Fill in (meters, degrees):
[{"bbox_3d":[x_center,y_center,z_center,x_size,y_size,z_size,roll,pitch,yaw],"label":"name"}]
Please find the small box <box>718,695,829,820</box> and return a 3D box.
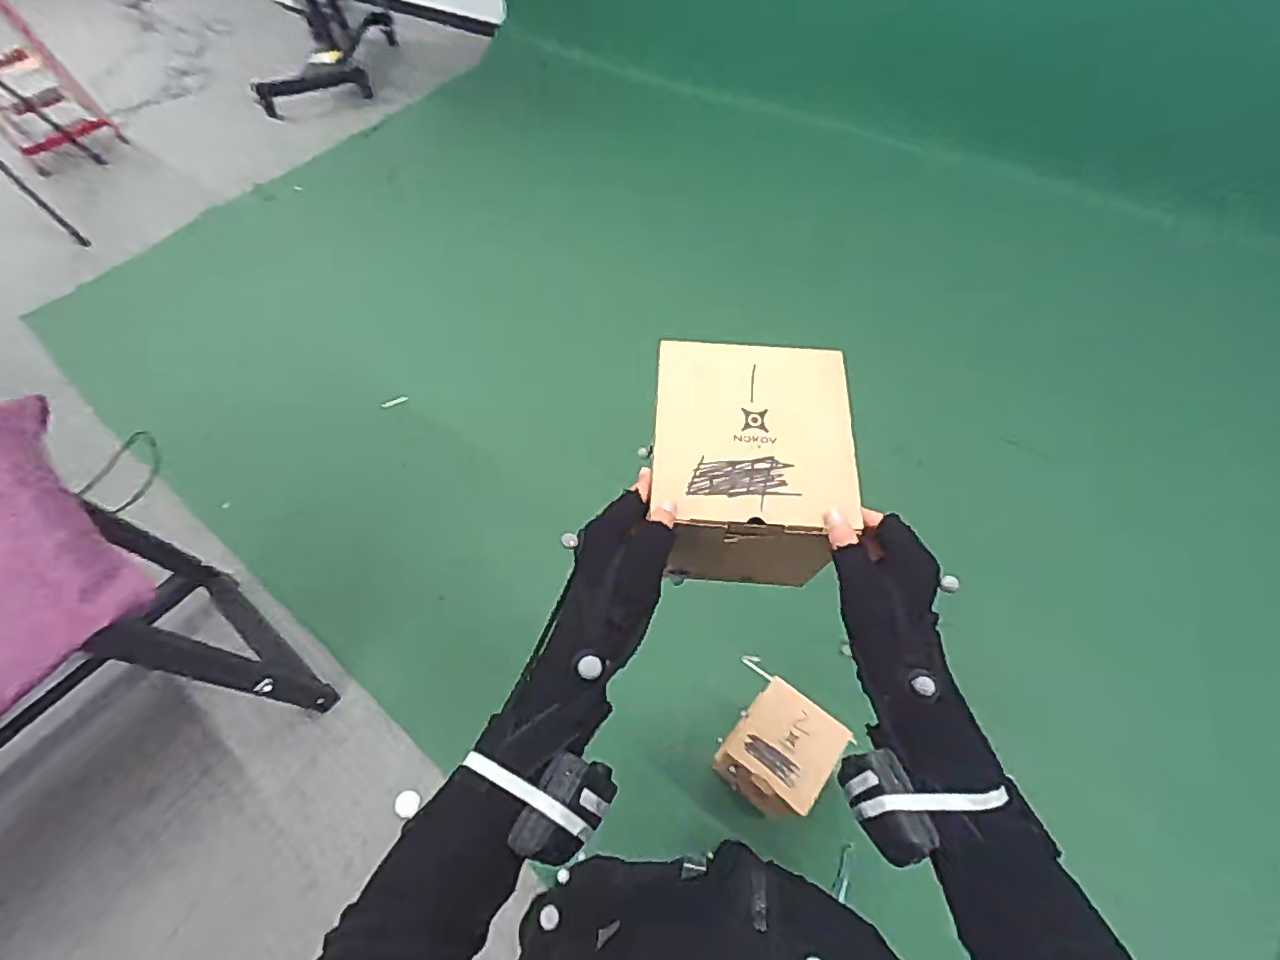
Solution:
[{"bbox_3d":[0.285,0.612,1.196,0.168,0.176,0.179,35,69,23],"label":"small box"}]
